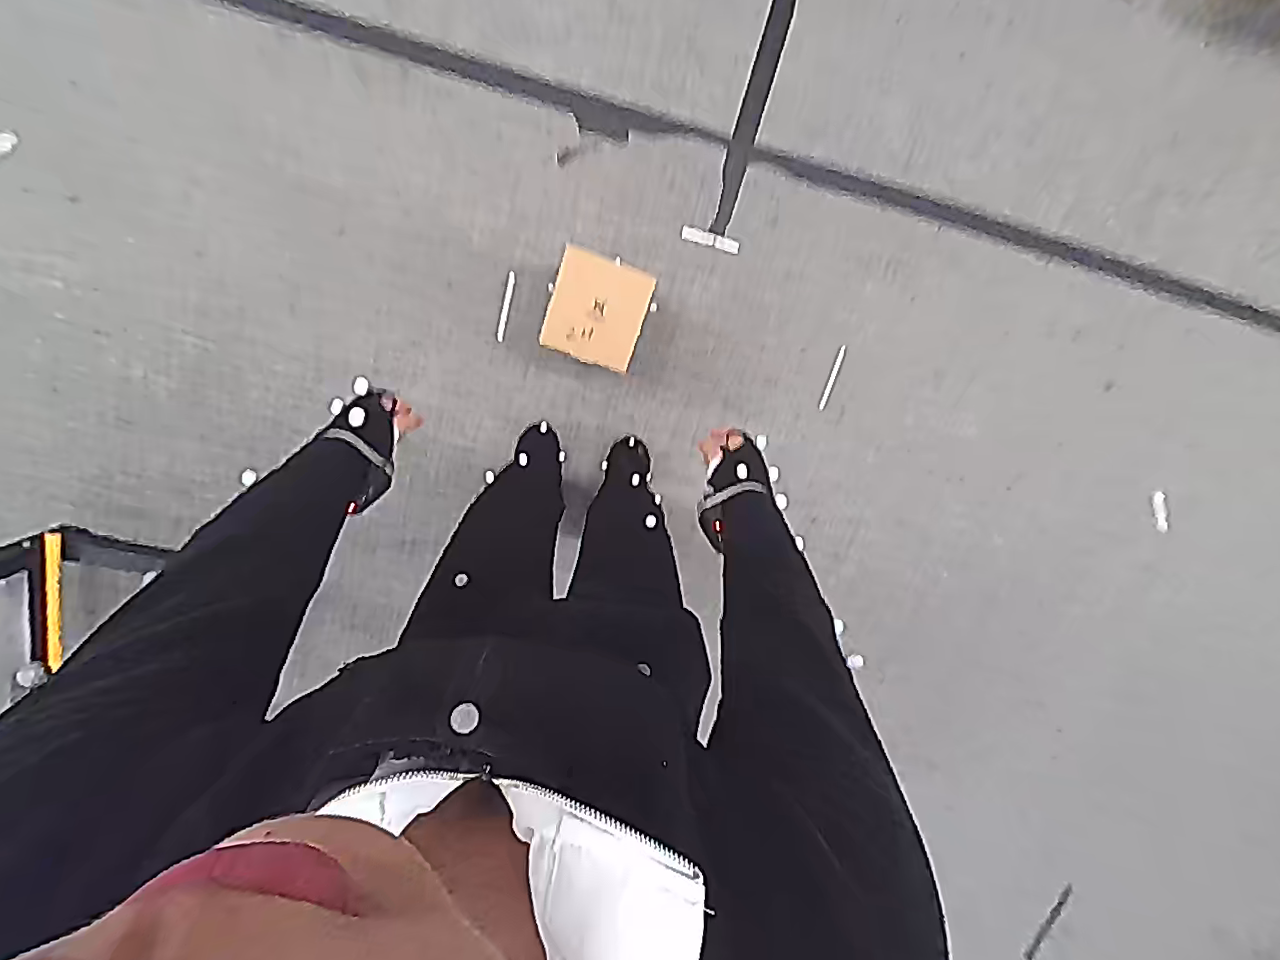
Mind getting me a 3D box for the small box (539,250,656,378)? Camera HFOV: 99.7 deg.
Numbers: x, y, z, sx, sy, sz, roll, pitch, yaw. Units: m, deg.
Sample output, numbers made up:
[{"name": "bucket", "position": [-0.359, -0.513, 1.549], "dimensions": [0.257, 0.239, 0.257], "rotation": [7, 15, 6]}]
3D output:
[{"name": "small box", "position": [-0.081, -0.312, 1.032], "dimensions": [0.168, 0.176, 0.179], "rotation": [19, 104, -7]}]
